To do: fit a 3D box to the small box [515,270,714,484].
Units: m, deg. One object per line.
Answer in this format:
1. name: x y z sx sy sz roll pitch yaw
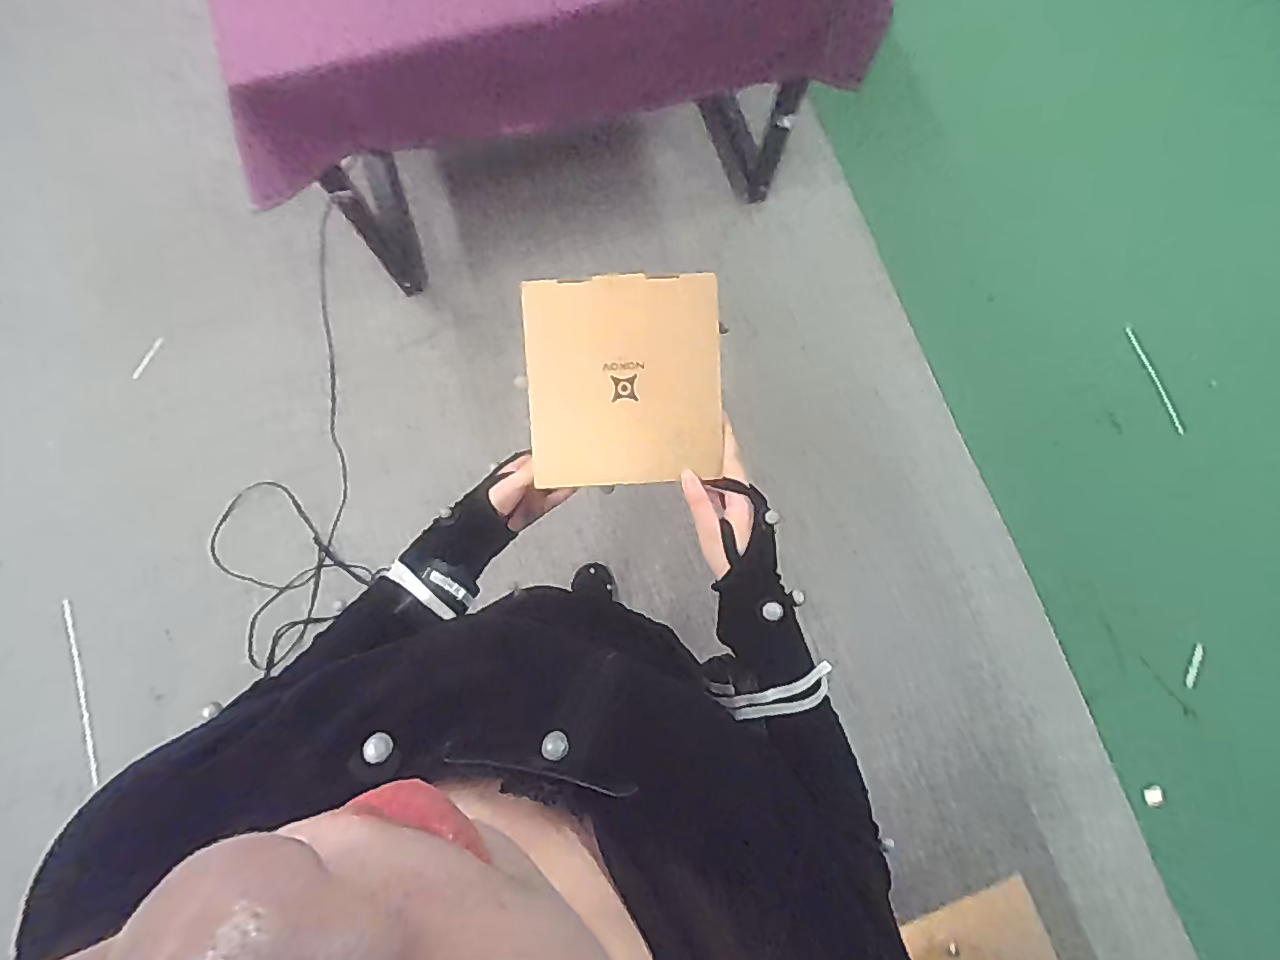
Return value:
1. small box: -0.020 -0.093 0.539 0.168 0.176 0.179 -3 94 -1
